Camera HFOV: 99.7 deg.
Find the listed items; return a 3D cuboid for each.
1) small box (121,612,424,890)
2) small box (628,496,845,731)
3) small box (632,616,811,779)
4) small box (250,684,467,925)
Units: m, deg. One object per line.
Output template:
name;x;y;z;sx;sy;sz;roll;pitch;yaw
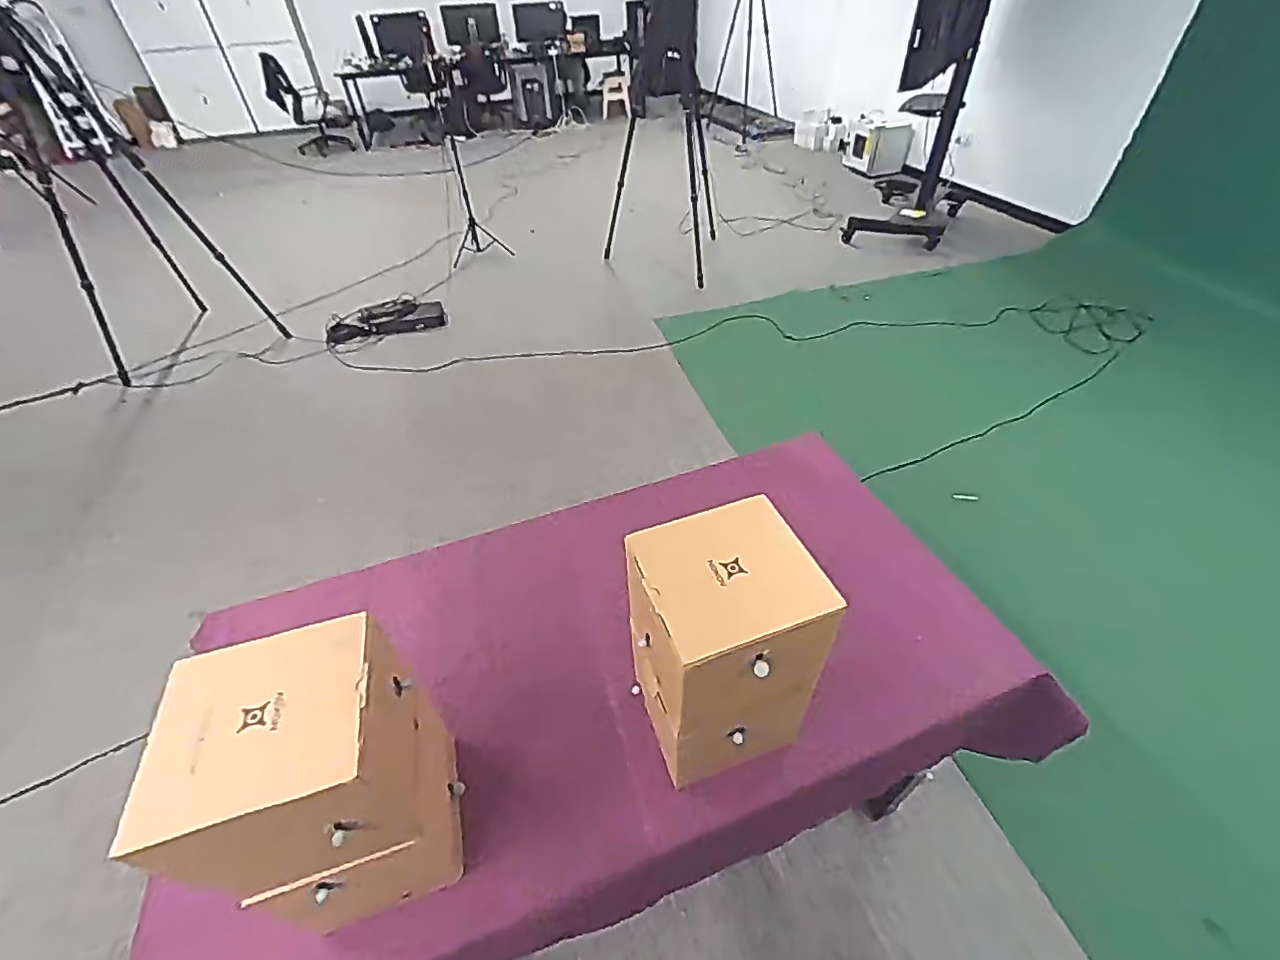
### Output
small box;-0.320;0.261;0.525;0.179;0.176;0.168;-14;44;-10
small box;0.095;0.150;0.611;0.179;0.176;0.168;-16;46;-12
small box;0.101;0.267;0.724;0.179;0.176;0.168;-15;45;-12
small box;-0.312;0.379;0.638;0.168;0.176;0.179;-15;44;-11
